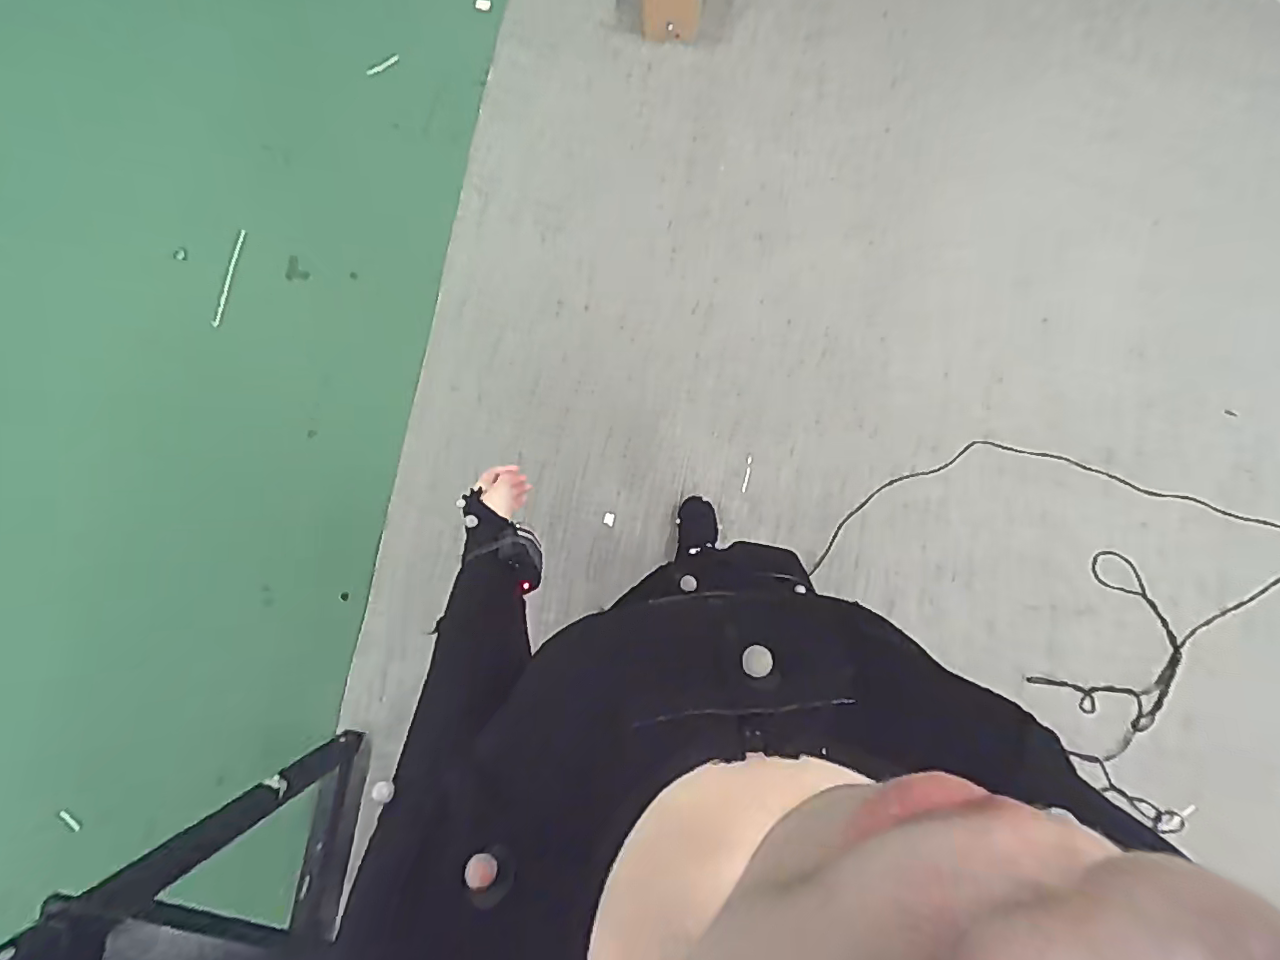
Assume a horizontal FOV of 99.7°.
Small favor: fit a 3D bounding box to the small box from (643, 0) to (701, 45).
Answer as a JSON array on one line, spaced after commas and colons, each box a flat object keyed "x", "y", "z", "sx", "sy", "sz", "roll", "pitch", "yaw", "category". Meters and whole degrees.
[{"x": 0.097, "y": -1.447, "z": 1.600, "sx": 0.168, "sy": 0.176, "sz": 0.179, "roll": 6, "pitch": 83, "yaw": 3, "category": "small box"}]
